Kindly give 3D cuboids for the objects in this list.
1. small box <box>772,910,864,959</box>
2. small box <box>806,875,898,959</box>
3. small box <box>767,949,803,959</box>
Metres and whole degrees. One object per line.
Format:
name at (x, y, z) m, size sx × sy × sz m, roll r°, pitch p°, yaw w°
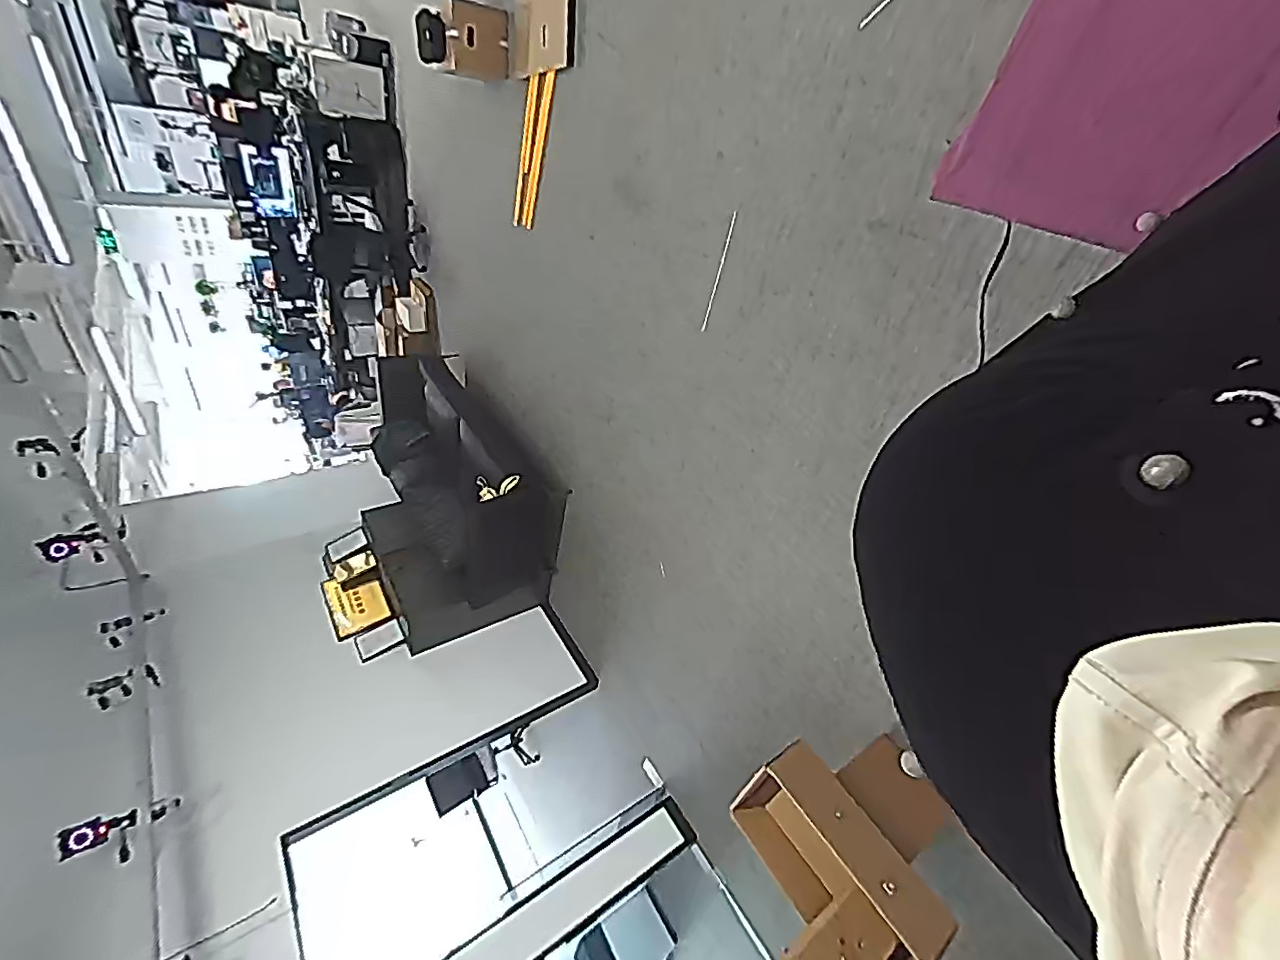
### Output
small box at (0.522, 1.405, 1.572) m, size 0.168 × 0.176 × 0.179 m, roll 49°, pitch 139°, yaw 30°
small box at (0.653, 1.367, 1.663) m, size 0.168 × 0.176 × 0.179 m, roll 48°, pitch 139°, yaw 33°
small box at (0.391, 1.442, 1.484) m, size 0.168 × 0.176 × 0.179 m, roll 50°, pitch 139°, yaw 30°
